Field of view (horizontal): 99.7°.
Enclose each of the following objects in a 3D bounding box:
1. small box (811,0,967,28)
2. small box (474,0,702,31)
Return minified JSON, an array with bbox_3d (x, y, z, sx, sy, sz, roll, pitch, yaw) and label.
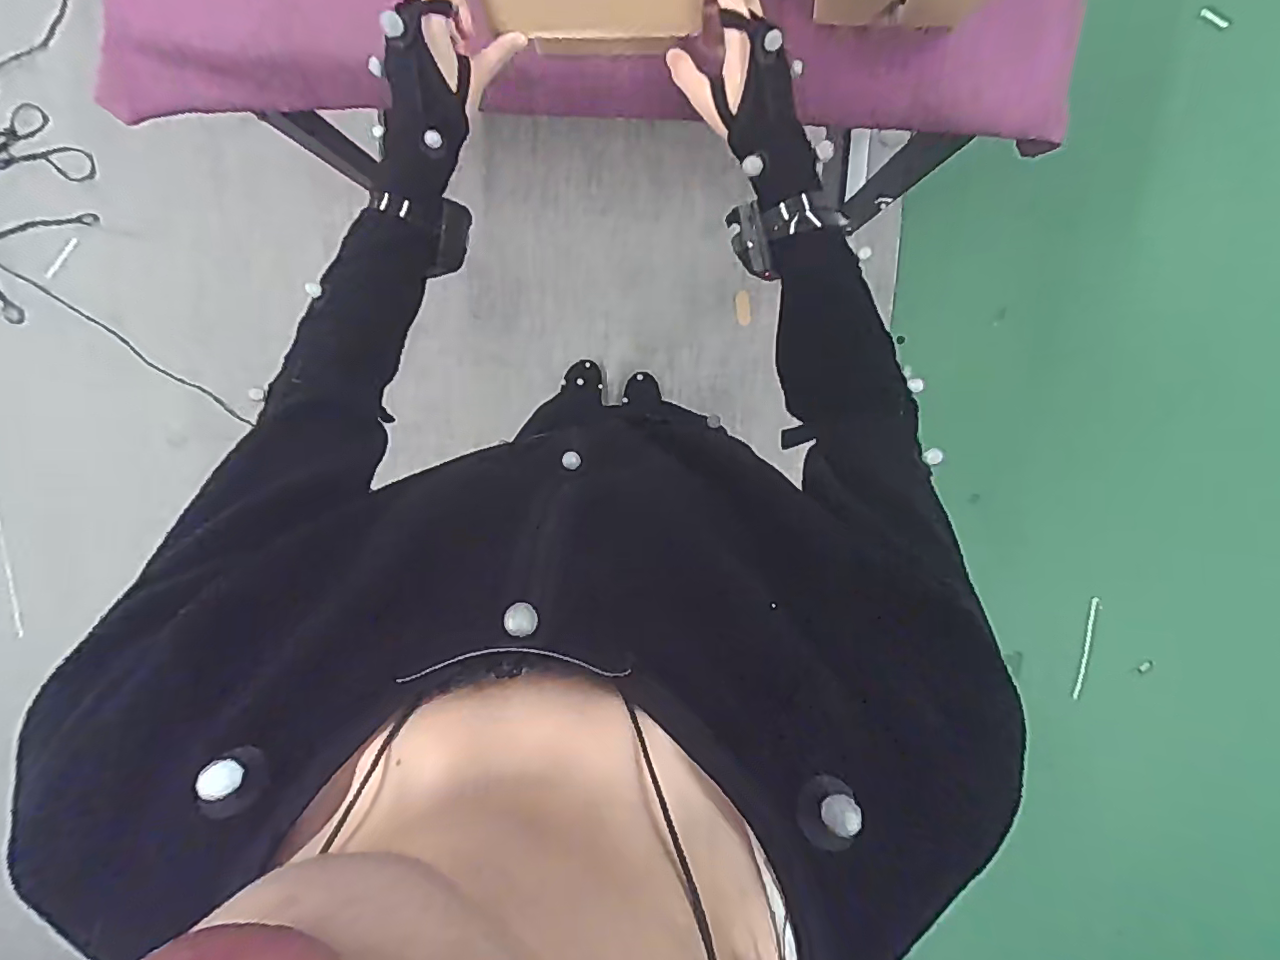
[{"bbox_3d":[0.296,-0.620,0.567,0.179,0.176,0.168,2,97,2],"label":"small box"},{"bbox_3d":[-0.039,-0.464,0.388,0.179,0.168,0.176,2,64,2],"label":"small box"}]
